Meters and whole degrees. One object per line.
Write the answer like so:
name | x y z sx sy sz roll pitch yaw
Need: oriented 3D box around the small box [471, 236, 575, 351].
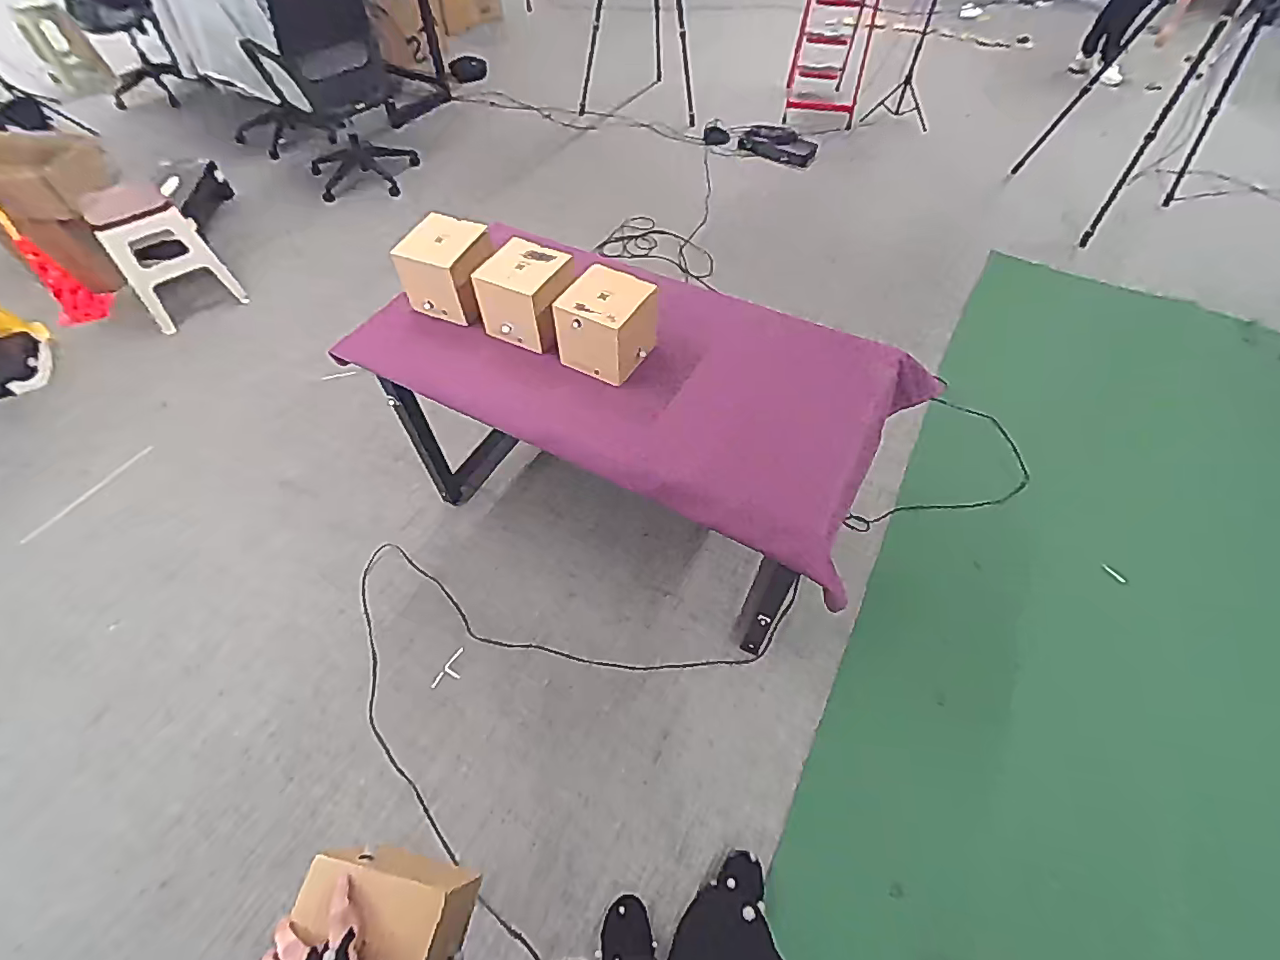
small box | -0.268 -0.443 1.291 0.168 0.176 0.179 23 59 16

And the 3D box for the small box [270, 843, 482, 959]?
small box | -0.327 0.576 0.683 0.179 0.176 0.168 10 61 7

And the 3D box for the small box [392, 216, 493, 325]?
small box | -0.473 -0.522 1.349 0.168 0.176 0.179 18 58 14
